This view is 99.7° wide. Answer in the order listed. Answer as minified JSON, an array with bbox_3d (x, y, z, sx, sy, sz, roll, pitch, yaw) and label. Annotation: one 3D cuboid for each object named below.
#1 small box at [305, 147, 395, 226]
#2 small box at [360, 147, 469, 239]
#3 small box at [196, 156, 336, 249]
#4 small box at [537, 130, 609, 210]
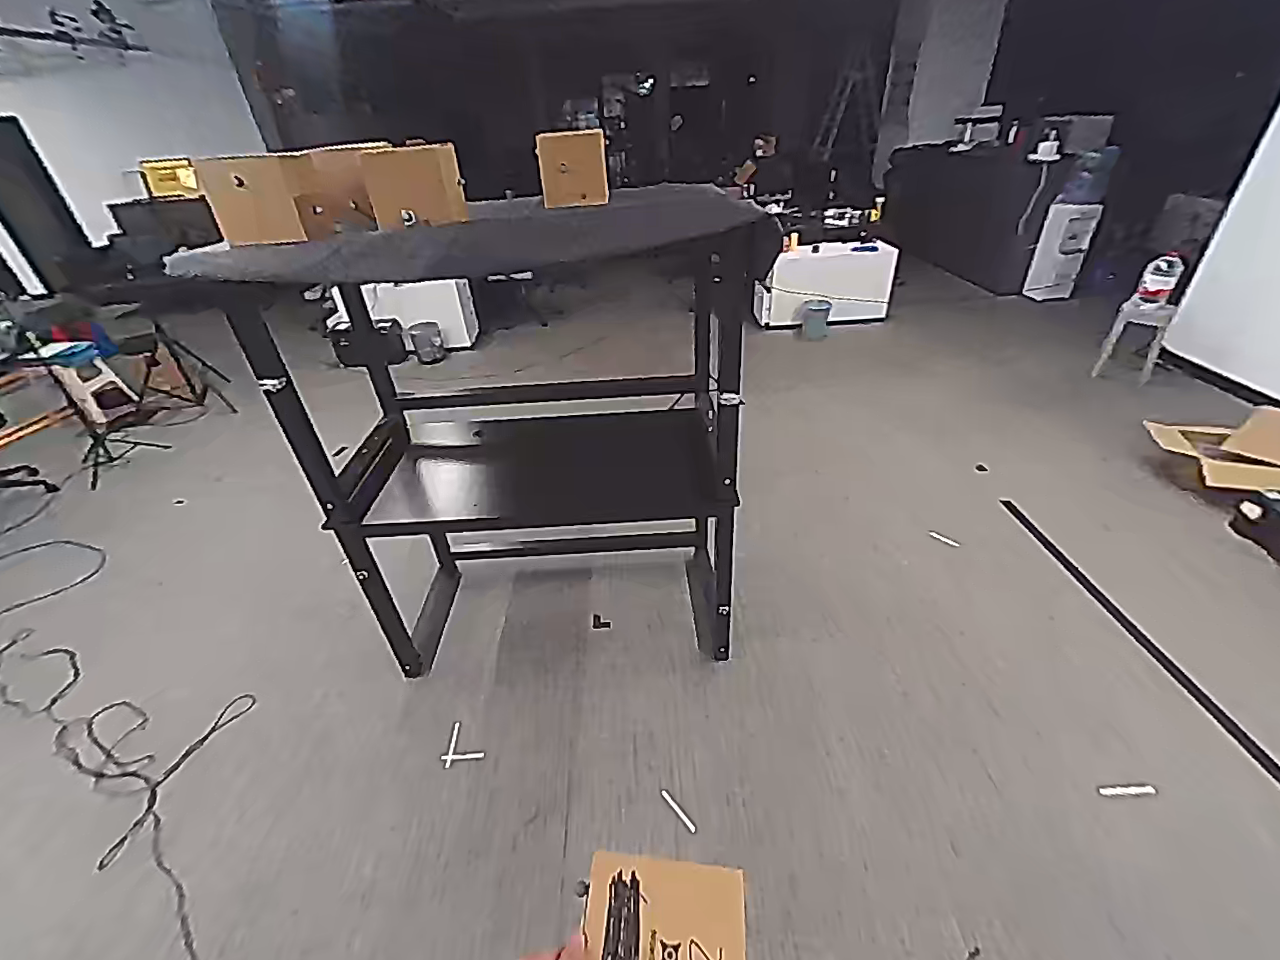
[{"bbox_3d":[-0.748,-0.789,1.453,0.179,0.176,0.168,-4,34,-2],"label":"small box"},{"bbox_3d":[-0.493,-0.644,1.214,0.168,0.176,0.179,-7,33,-2],"label":"small box"},{"bbox_3d":[-0.825,-0.624,1.214,0.179,0.176,0.168,-5,33,-3],"label":"small box"},{"bbox_3d":[-0.172,-0.832,1.458,0.168,0.176,0.179,-4,34,0],"label":"small box"}]
